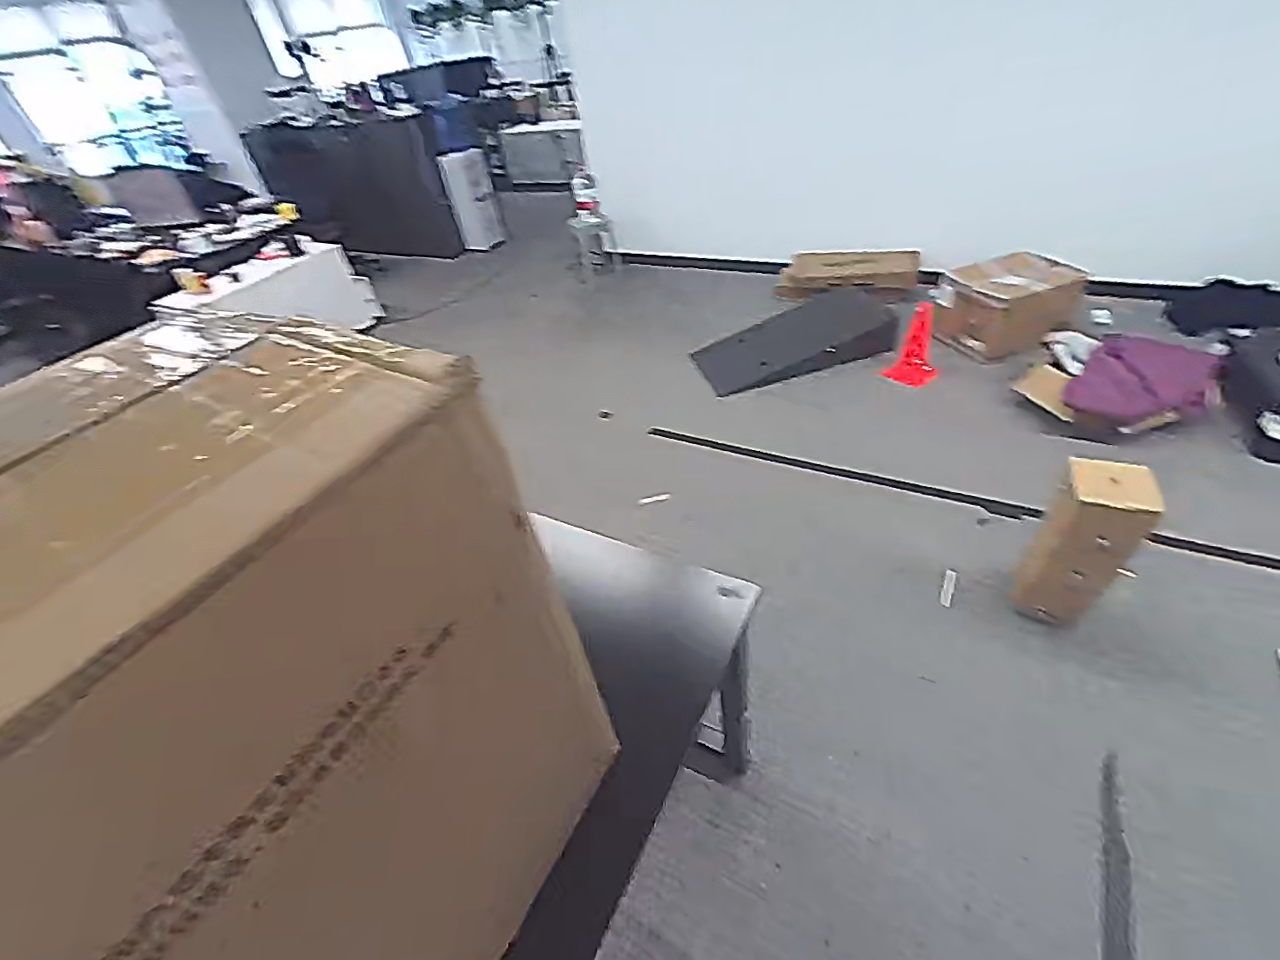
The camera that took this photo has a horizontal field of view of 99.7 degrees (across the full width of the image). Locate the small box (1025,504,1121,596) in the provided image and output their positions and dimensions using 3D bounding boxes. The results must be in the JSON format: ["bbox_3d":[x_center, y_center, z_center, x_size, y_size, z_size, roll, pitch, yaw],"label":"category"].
[{"bbox_3d":[1.191,0.191,1.496,0.168,0.176,0.179,13,46,26],"label":"small box"}]

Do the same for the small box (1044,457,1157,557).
[{"bbox_3d":[1.167,0.067,1.388,0.168,0.176,0.179,9,44,23],"label":"small box"}]

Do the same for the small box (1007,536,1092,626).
[{"bbox_3d":[1.217,0.302,1.615,0.168,0.176,0.179,13,47,25],"label":"small box"}]
